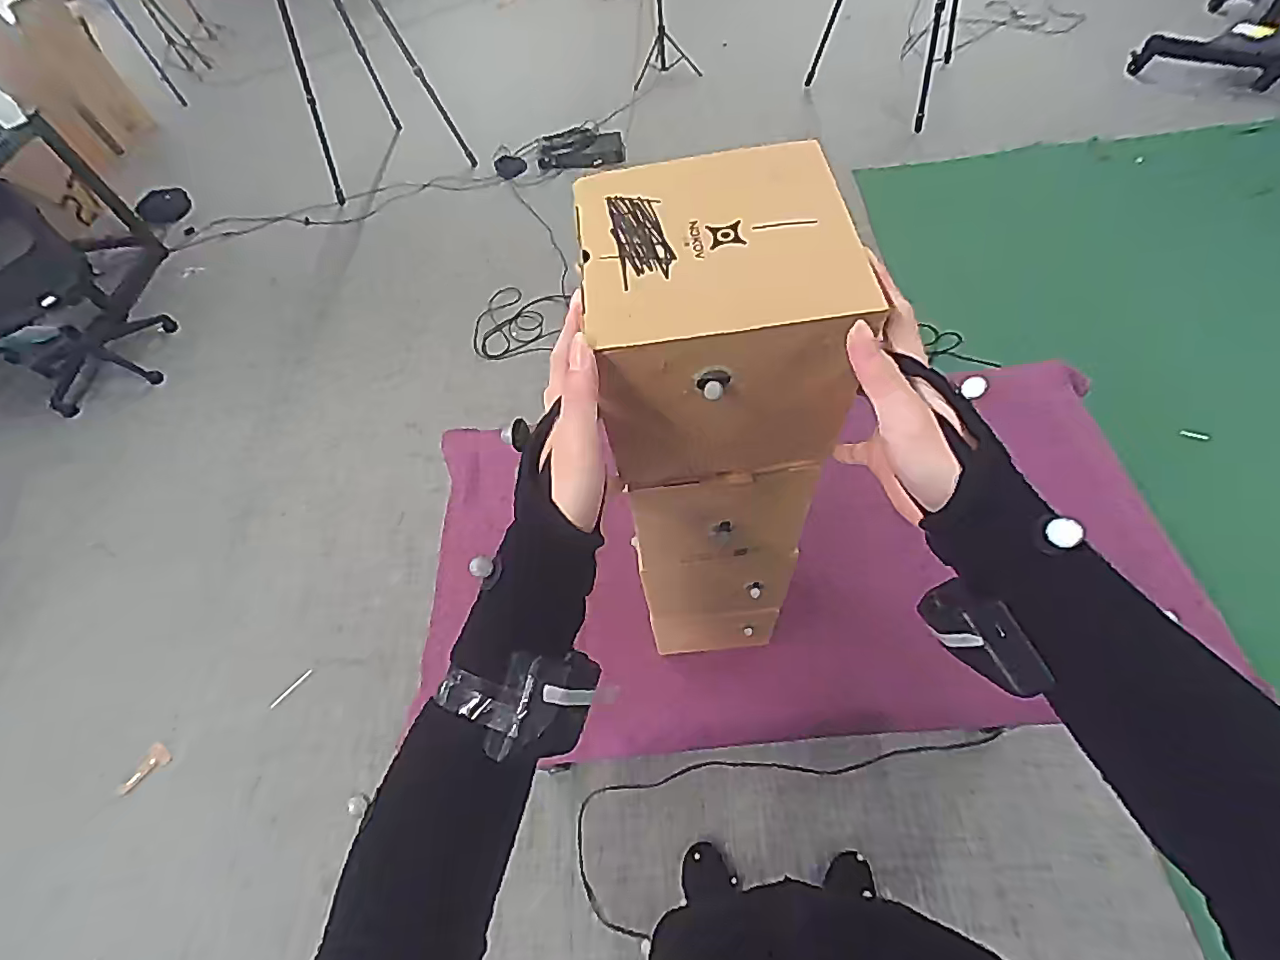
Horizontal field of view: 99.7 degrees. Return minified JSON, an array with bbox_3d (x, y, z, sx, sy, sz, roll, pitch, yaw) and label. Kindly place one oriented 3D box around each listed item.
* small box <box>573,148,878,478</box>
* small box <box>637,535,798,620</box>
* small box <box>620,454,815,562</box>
[{"bbox_3d":[0.053,-0.114,0.417,0.179,0.176,0.168,-7,61,3],"label":"small box"},{"bbox_3d":[0.088,0.069,0.693,0.179,0.176,0.168,-7,56,4],"label":"small box"},{"bbox_3d":[0.069,-0.025,0.561,0.168,0.176,0.179,-7,57,2],"label":"small box"}]
